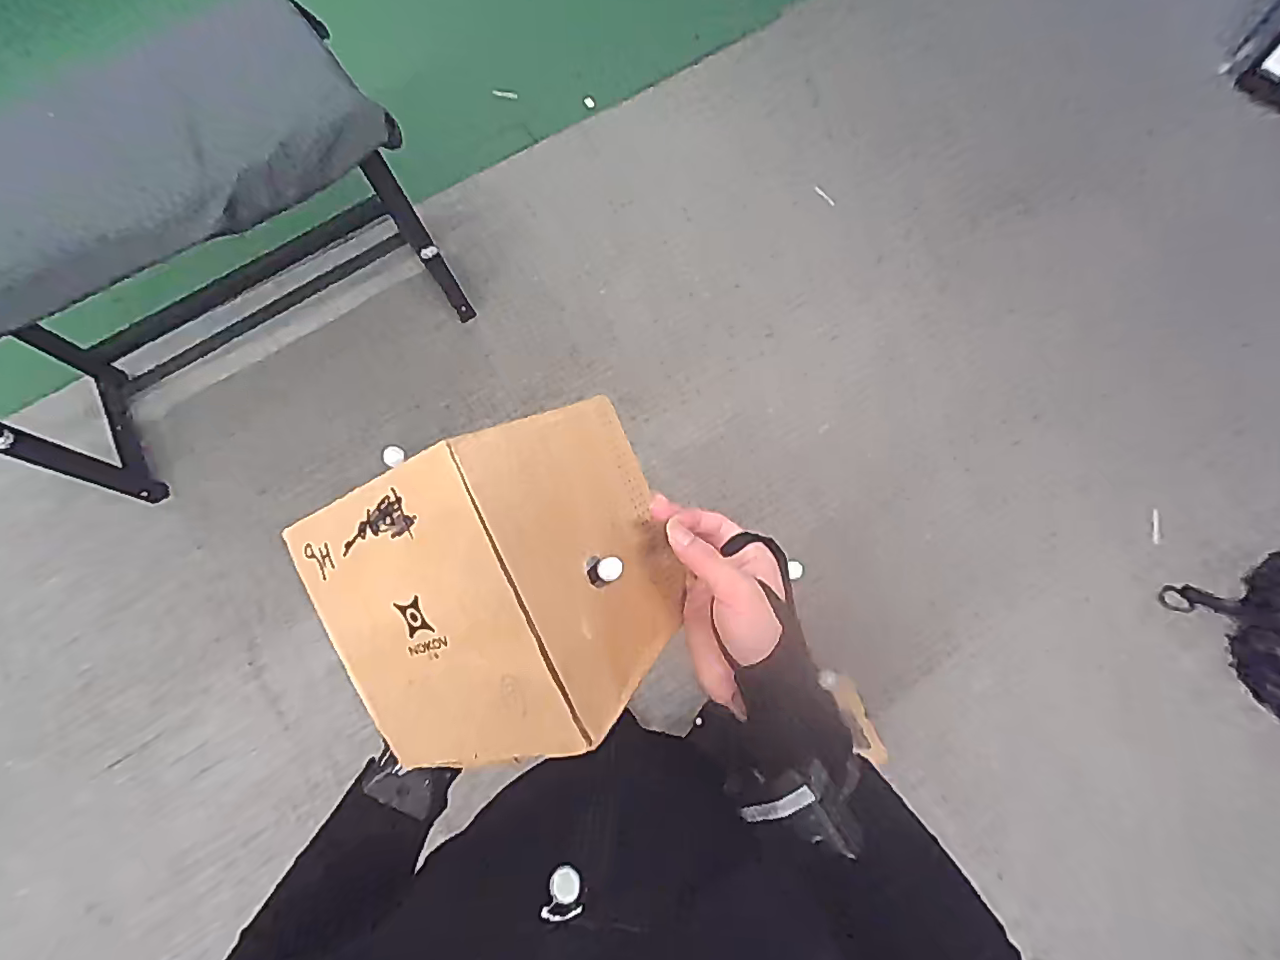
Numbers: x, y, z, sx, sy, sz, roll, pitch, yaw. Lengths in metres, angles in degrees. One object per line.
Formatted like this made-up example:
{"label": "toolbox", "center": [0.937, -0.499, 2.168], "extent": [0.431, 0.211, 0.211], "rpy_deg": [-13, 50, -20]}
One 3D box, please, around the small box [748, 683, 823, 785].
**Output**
{"label": "small box", "center": [0.370, 0.590, 1.274], "extent": [0.179, 0.176, 0.168], "rpy_deg": [-21, 67, -3]}

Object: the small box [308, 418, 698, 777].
{"label": "small box", "center": [-0.079, 0.075, 0.386], "extent": [0.168, 0.176, 0.179], "rpy_deg": [-22, 96, 29]}

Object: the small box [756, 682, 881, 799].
{"label": "small box", "center": [0.358, 0.530, 1.121], "extent": [0.179, 0.176, 0.168], "rpy_deg": [-20, 67, -3]}
